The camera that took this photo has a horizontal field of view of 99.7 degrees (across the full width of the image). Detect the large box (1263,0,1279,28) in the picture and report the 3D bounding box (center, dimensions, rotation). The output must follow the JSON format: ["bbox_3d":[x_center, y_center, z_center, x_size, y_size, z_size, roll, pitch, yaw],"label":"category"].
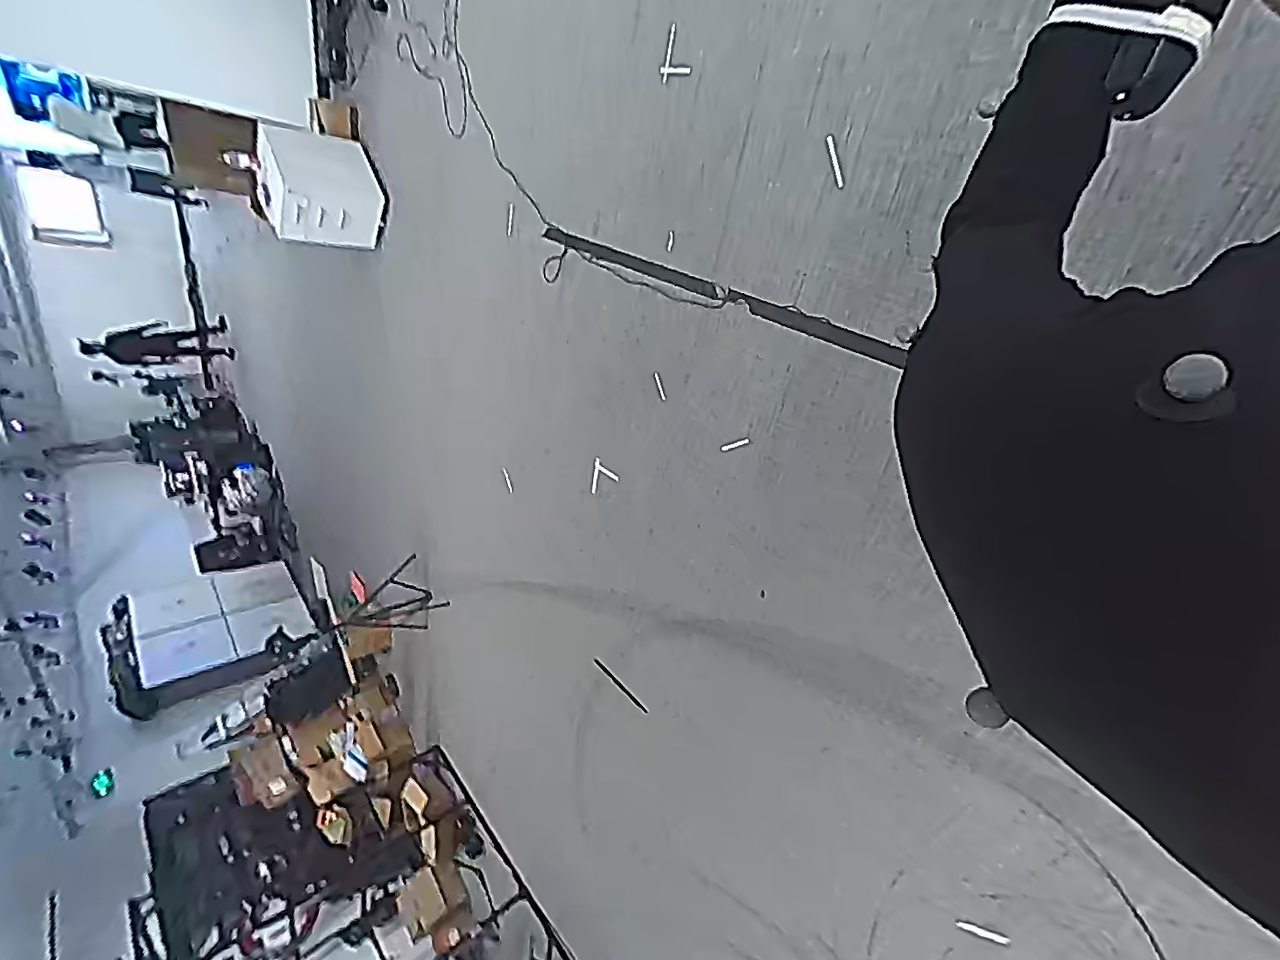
[{"bbox_3d":[0.596,-0.369,0.192,0.408,0.320,0.320,38,137,37],"label":"large box"}]
